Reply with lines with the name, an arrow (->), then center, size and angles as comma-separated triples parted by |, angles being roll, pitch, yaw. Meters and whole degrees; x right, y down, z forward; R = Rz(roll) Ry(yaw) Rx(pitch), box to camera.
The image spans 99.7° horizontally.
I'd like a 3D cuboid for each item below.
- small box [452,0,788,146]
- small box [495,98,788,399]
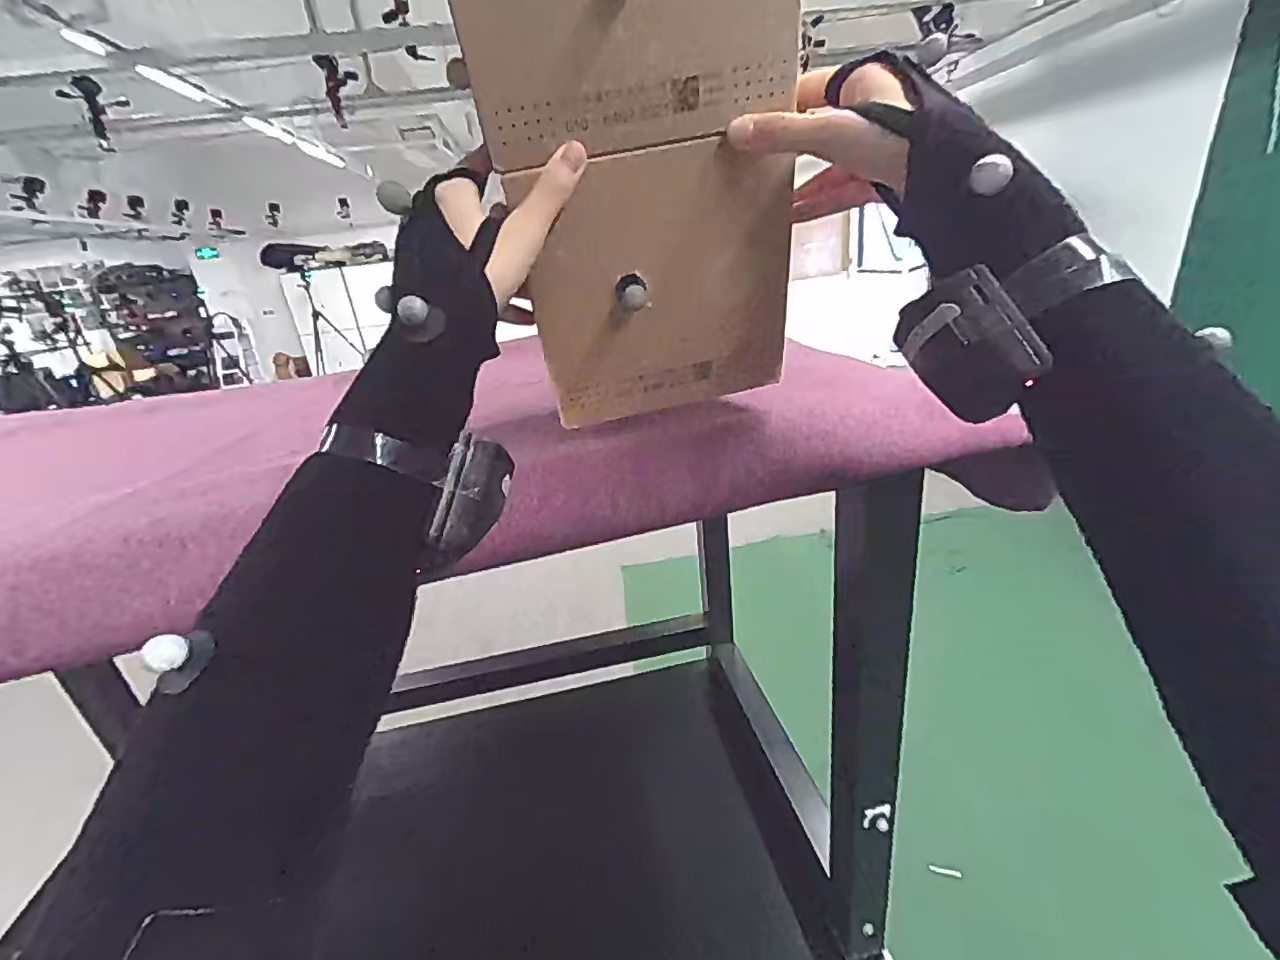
small box -> -0.022, -0.298, 0.297 | 0.168, 0.176, 0.179 | -12, 41, -4
small box -> -0.002, -0.173, 0.401 | 0.168, 0.176, 0.179 | -13, 40, -4
